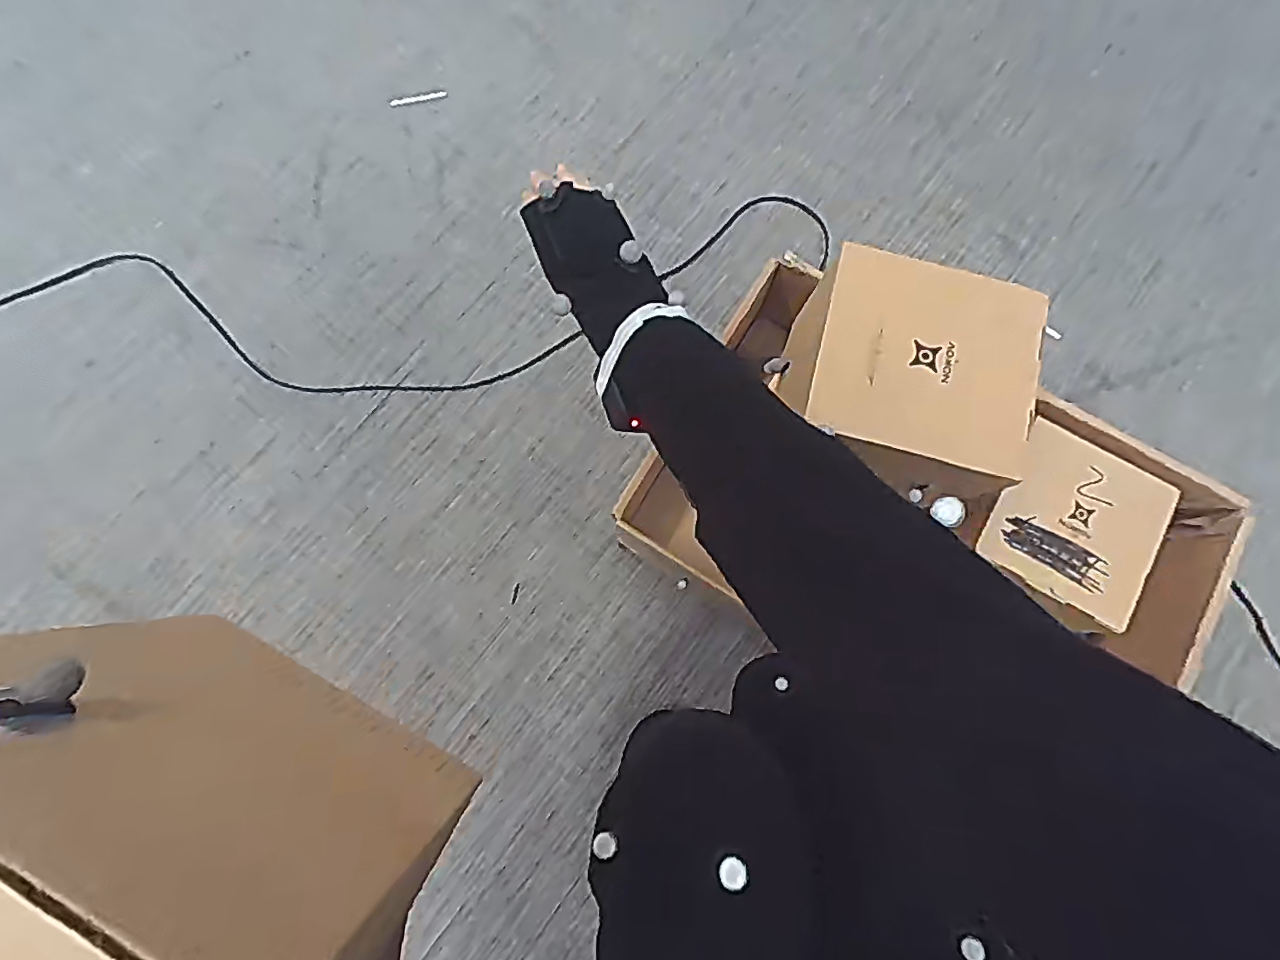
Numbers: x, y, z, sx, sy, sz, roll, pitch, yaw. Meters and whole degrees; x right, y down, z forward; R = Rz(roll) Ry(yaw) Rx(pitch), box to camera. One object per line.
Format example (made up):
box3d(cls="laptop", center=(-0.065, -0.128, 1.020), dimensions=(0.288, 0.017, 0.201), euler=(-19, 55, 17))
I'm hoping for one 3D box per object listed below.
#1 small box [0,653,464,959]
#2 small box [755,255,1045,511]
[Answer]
box3d(cls="small box", center=(-0.201, 0.181, 0.201), dimensions=(0.179, 0.176, 0.168), euler=(29, 82, 5))
box3d(cls="small box", center=(0.225, -0.074, 0.509), dimensions=(0.179, 0.176, 0.168), euler=(15, 80, 3))
